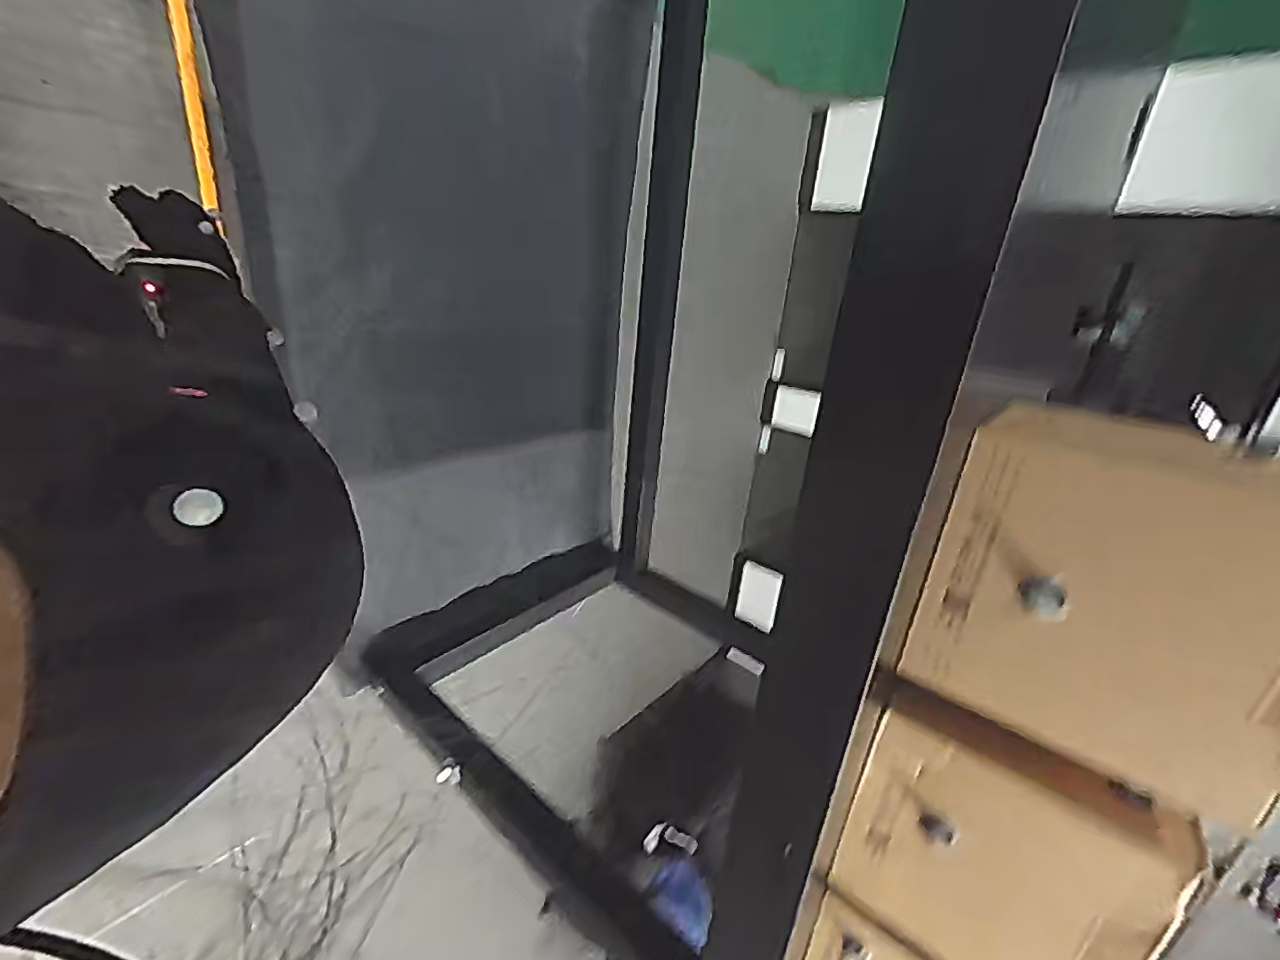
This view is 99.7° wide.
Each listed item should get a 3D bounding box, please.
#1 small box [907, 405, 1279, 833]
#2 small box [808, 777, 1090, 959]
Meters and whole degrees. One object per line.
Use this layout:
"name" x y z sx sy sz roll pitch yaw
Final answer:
"small box" 0.295 0.053 0.339 0.179 0.176 0.168 -16 119 -48
"small box" 0.255 0.411 0.468 0.179 0.176 0.168 -16 119 -50
